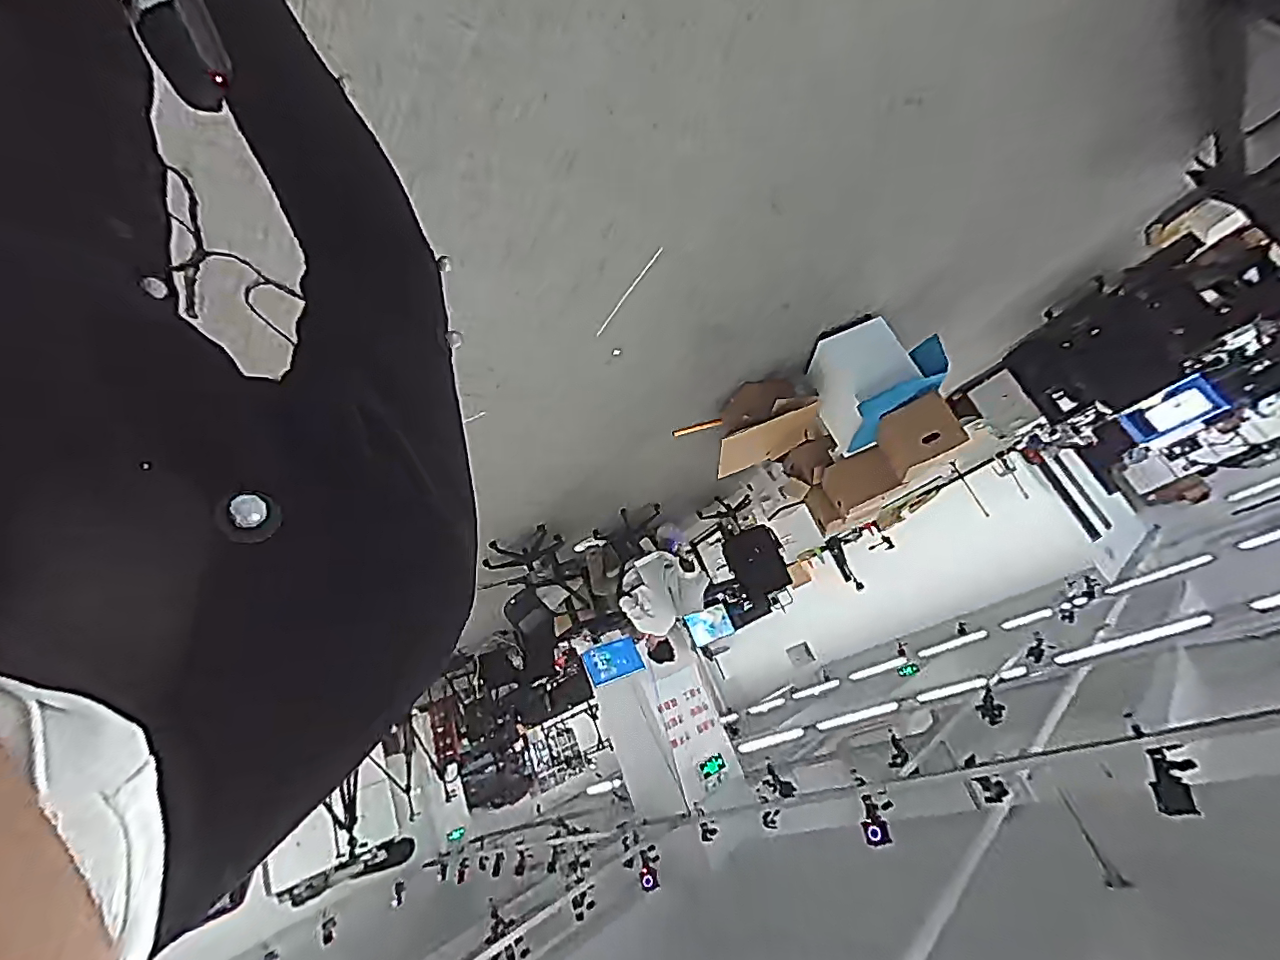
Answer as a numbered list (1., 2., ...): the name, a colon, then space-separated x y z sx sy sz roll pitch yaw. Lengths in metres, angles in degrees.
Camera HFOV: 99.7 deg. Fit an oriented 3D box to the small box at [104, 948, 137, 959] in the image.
1. small box: -1.323 1.270 1.299 0.168 0.176 0.179 -5 153 -42
